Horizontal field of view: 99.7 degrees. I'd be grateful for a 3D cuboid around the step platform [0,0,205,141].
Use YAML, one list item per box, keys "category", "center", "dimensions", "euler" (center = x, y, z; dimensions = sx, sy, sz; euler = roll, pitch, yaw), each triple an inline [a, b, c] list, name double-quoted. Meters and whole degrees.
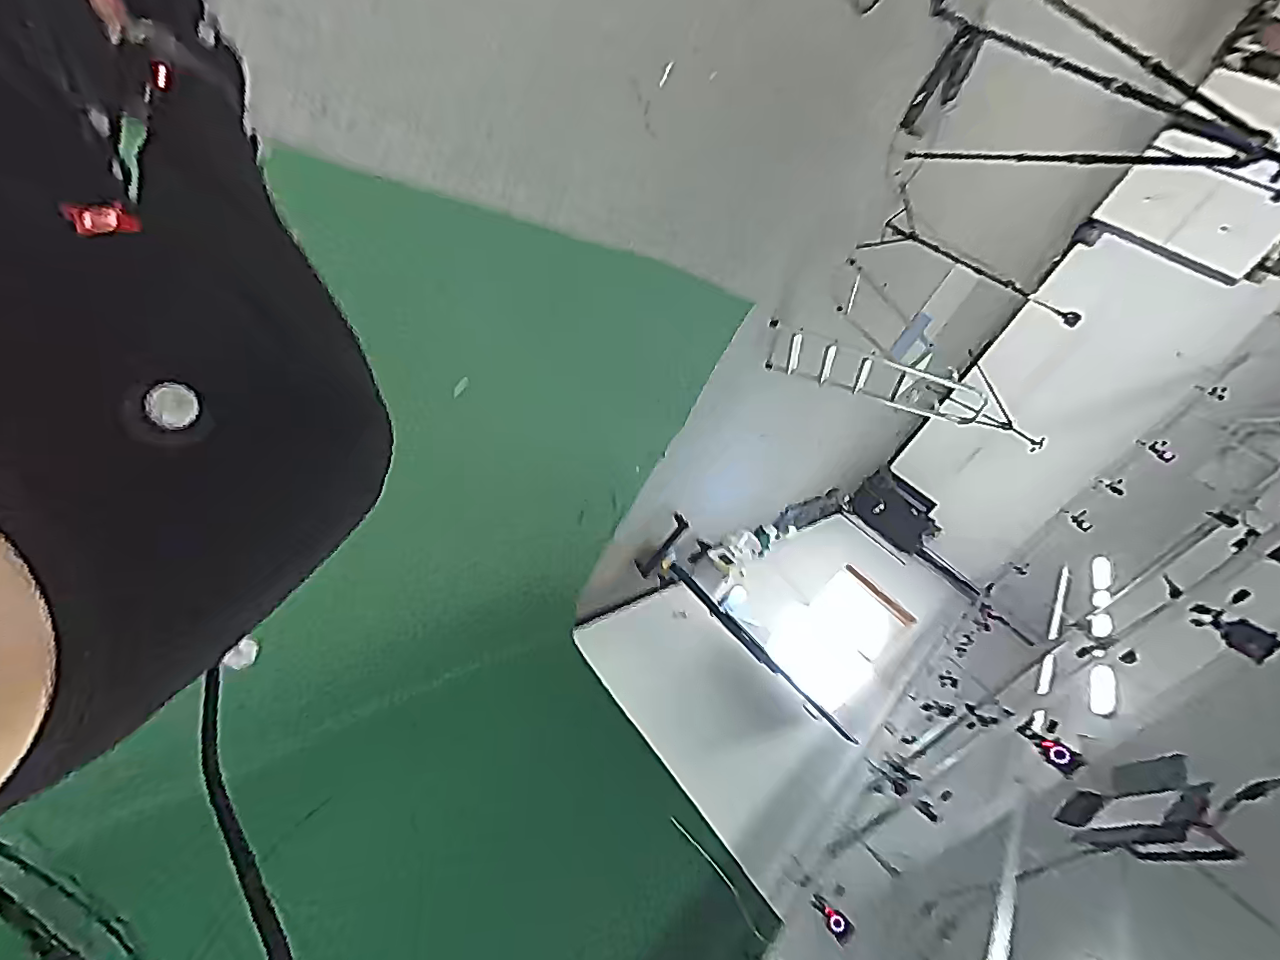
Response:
- category: "step platform"
  center: [-0.980, -0.700, 0.655]
  dimensions: [0.684, 0.204, 0.286]
  euler: [-11, 138, -51]
